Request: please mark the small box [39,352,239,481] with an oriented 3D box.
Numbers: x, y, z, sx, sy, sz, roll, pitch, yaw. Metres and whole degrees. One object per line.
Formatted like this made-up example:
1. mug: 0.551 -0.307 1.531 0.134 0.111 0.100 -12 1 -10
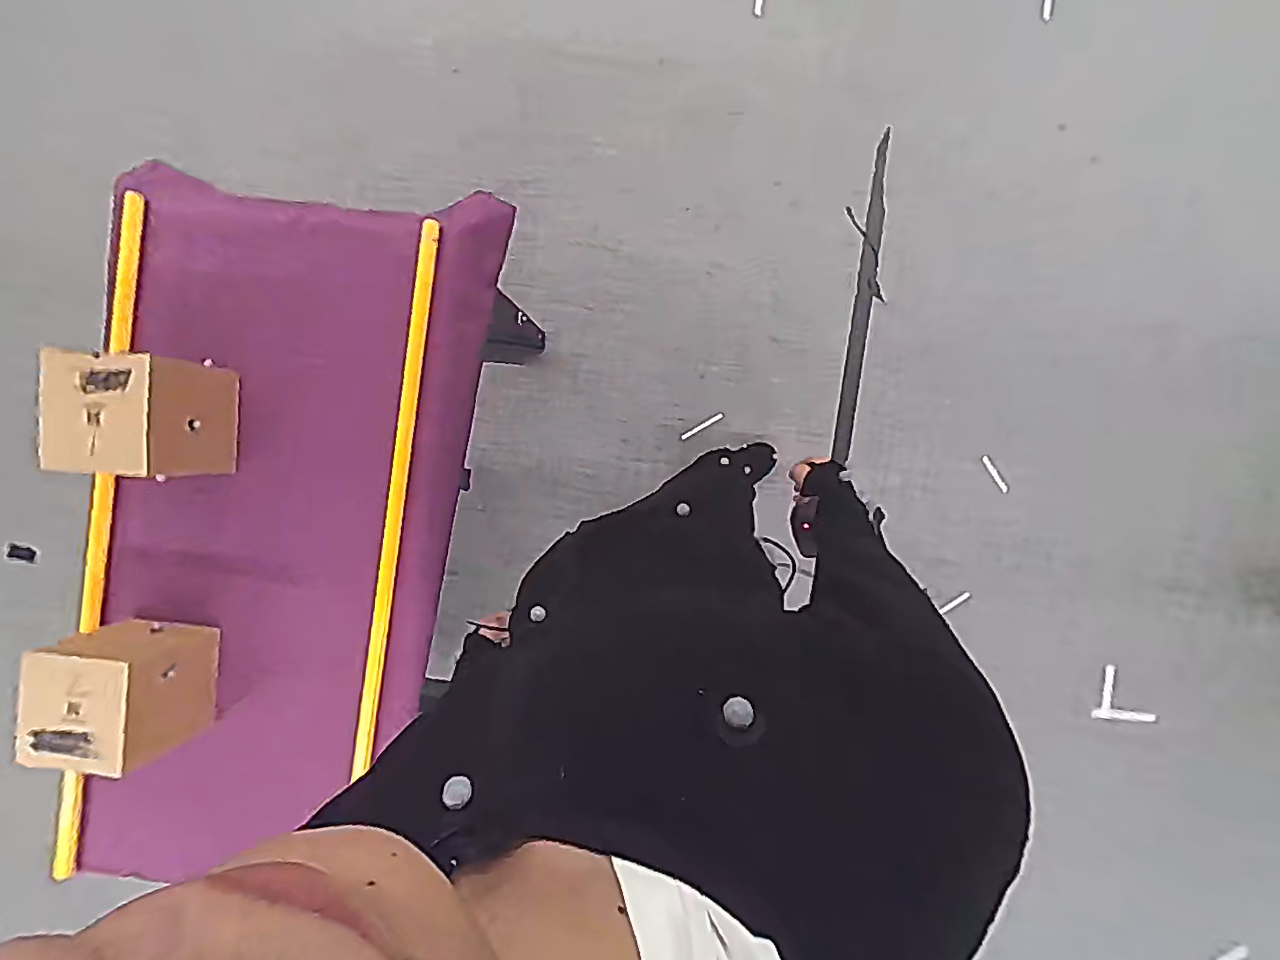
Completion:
1. small box: -0.777 -0.095 0.856 0.168 0.176 0.179 4 93 3
